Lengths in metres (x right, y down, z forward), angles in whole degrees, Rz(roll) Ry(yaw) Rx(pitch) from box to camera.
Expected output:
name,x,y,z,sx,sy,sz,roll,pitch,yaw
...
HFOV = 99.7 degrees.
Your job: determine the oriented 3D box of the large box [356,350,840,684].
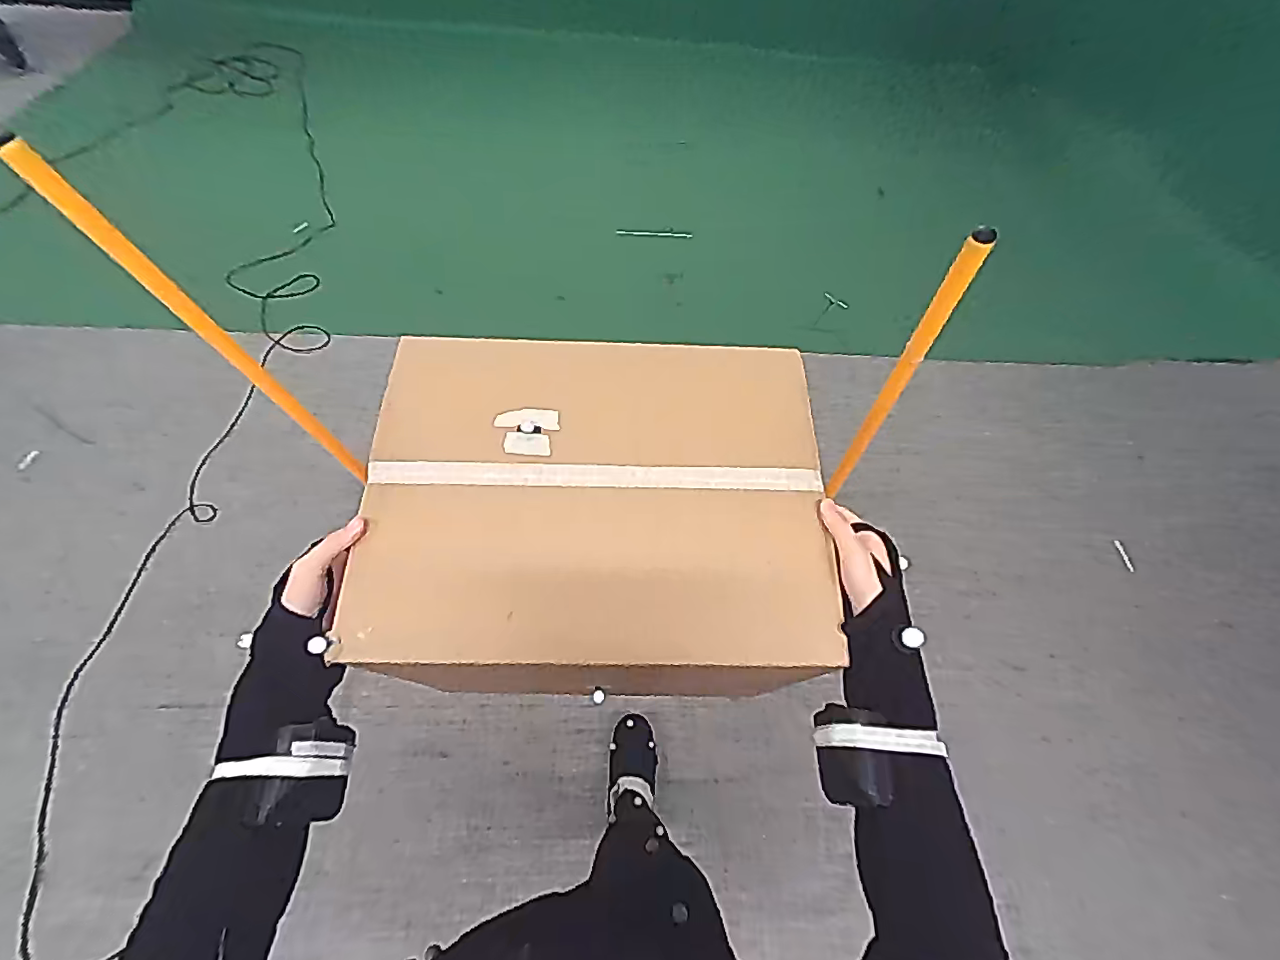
name,x,y,z,sx,sy,sz,roll,pitch,yaw
large box,-0.035,0.067,0.637,0.408,0.320,0.320,1,64,-1
